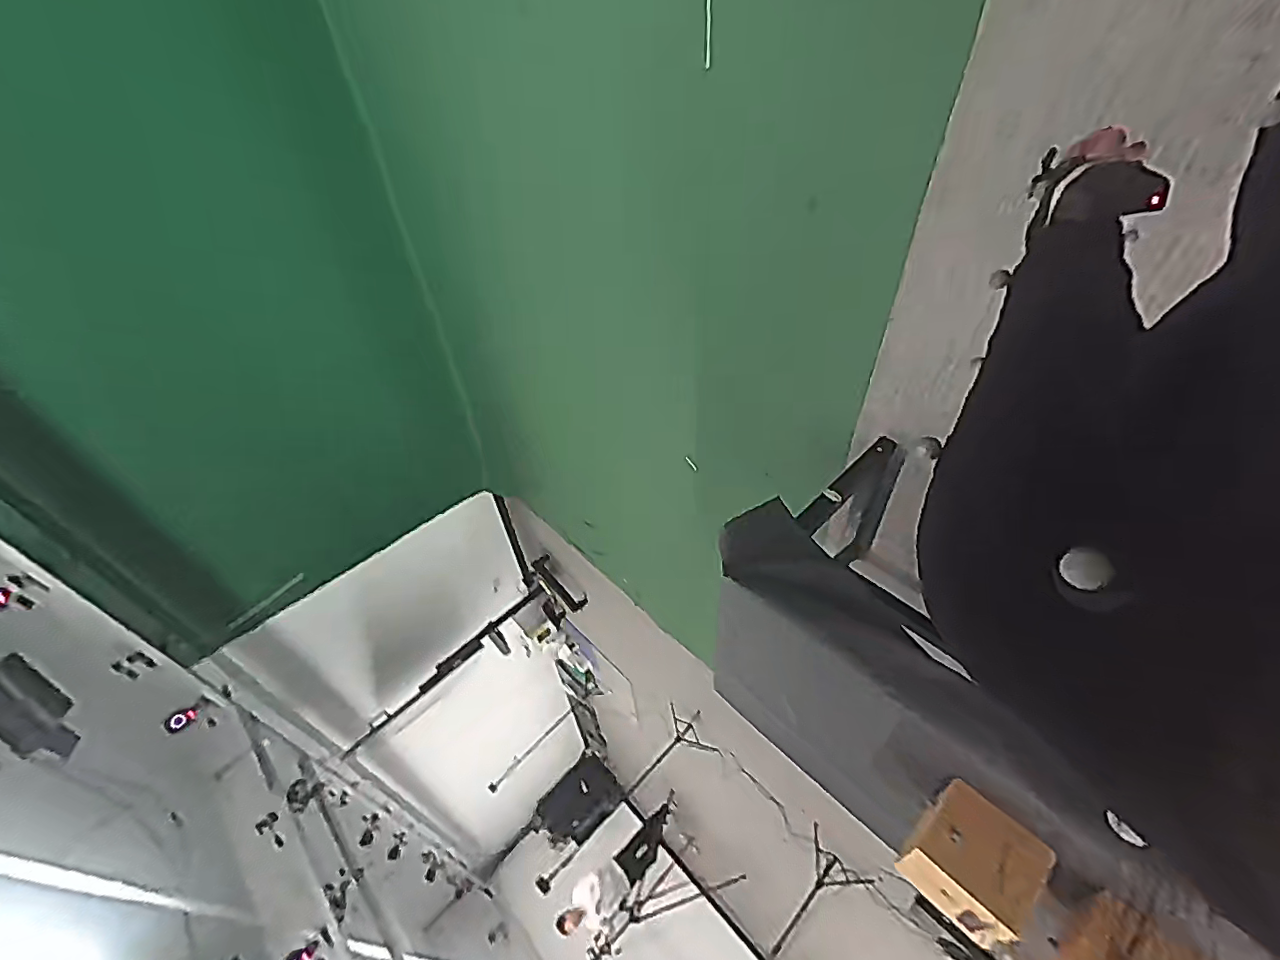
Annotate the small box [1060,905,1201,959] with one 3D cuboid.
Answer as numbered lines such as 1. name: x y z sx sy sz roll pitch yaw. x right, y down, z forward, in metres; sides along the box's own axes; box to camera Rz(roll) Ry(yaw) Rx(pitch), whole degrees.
1. small box: 0.796 0.824 0.861 0.179 0.176 0.168 31 146 36
